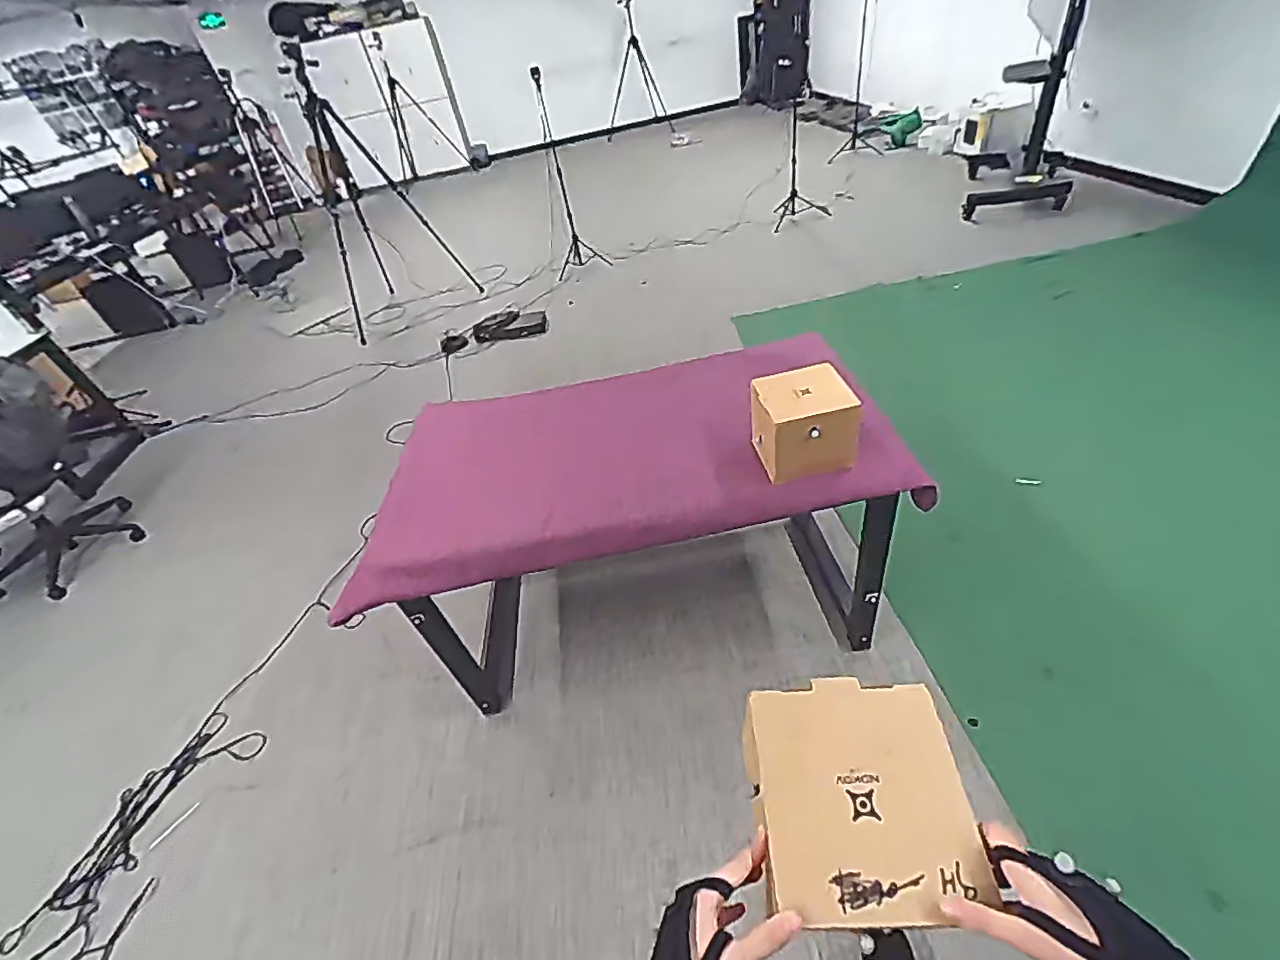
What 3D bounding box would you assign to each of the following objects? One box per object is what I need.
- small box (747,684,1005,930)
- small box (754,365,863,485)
[{"bbox_3d":[0.195,0.313,0.514,0.168,0.176,0.179,-5,51,5],"label":"small box"},{"bbox_3d":[0.351,-0.115,1.151,0.179,0.176,0.168,-14,42,2],"label":"small box"}]
